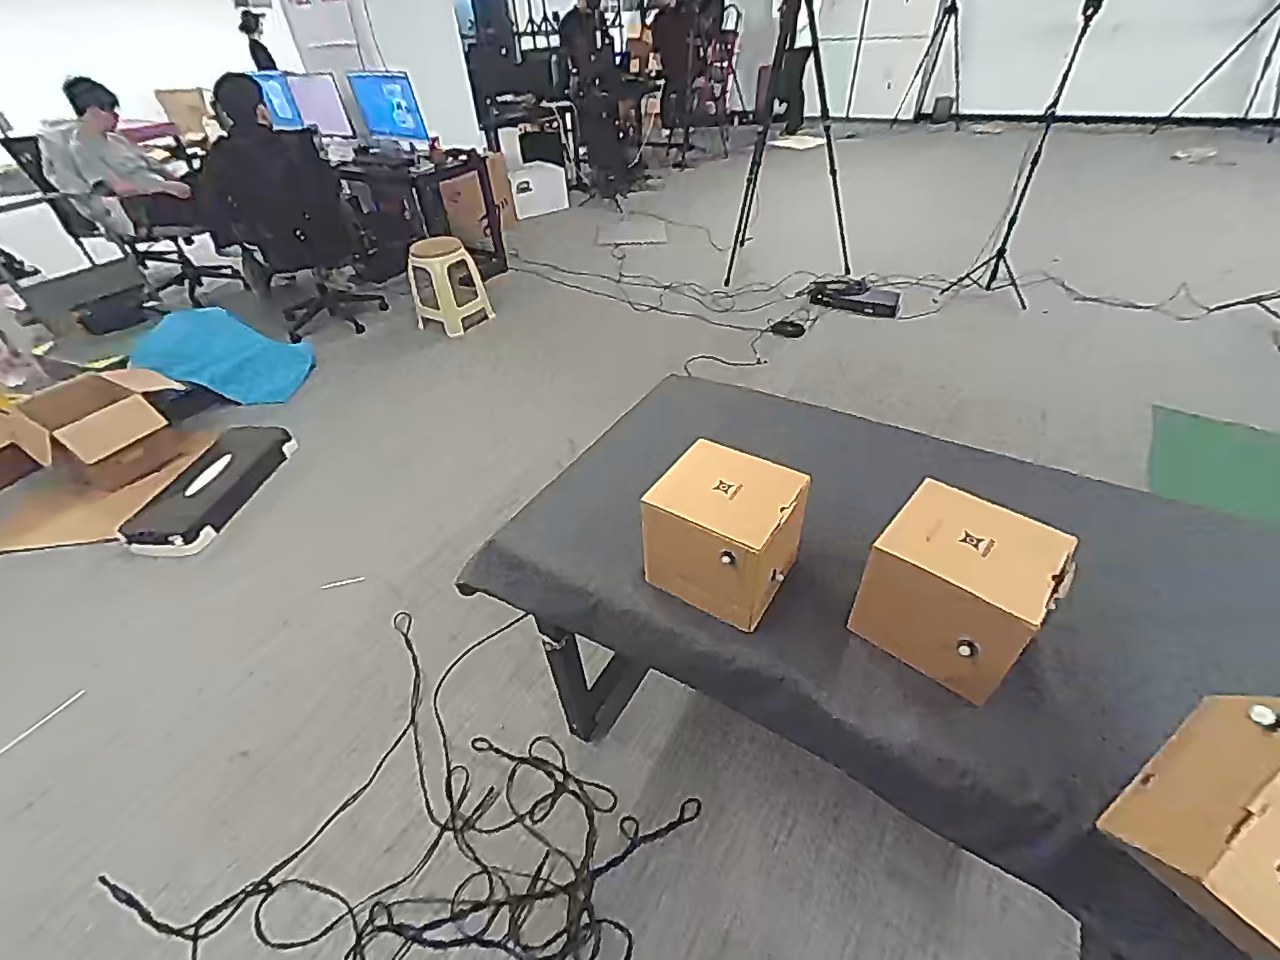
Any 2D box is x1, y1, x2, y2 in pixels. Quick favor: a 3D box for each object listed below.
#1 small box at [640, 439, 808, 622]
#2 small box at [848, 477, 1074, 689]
[{"bbox_3d":[0.116,0.071,0.776,0.179,0.176,0.168,22,46,27],"label":"small box"},{"bbox_3d":[0.391,0.132,0.681,0.179,0.176,0.168,28,49,34],"label":"small box"}]
